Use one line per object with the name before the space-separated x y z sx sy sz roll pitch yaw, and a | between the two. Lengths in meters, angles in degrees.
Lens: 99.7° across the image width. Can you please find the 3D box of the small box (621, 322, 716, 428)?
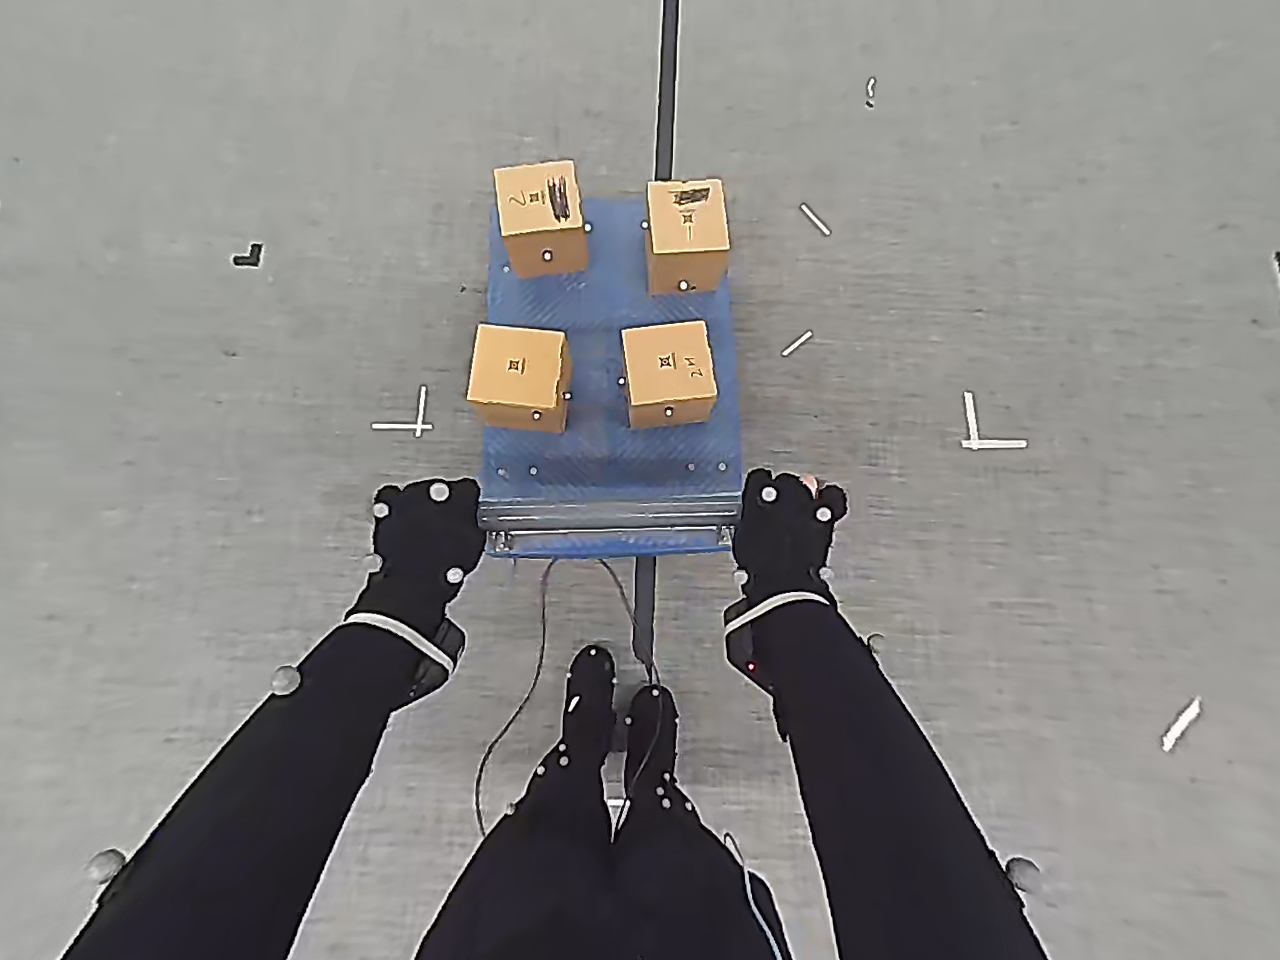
small box | 0.056 -0.217 1.156 0.179 0.176 0.168 -7 79 -3

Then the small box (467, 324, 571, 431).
small box | -0.248 -0.210 1.146 0.179 0.176 0.168 5 78 -2

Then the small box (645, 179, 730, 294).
small box | 0.101 -0.546 1.227 0.168 0.176 0.179 -4 79 -2
